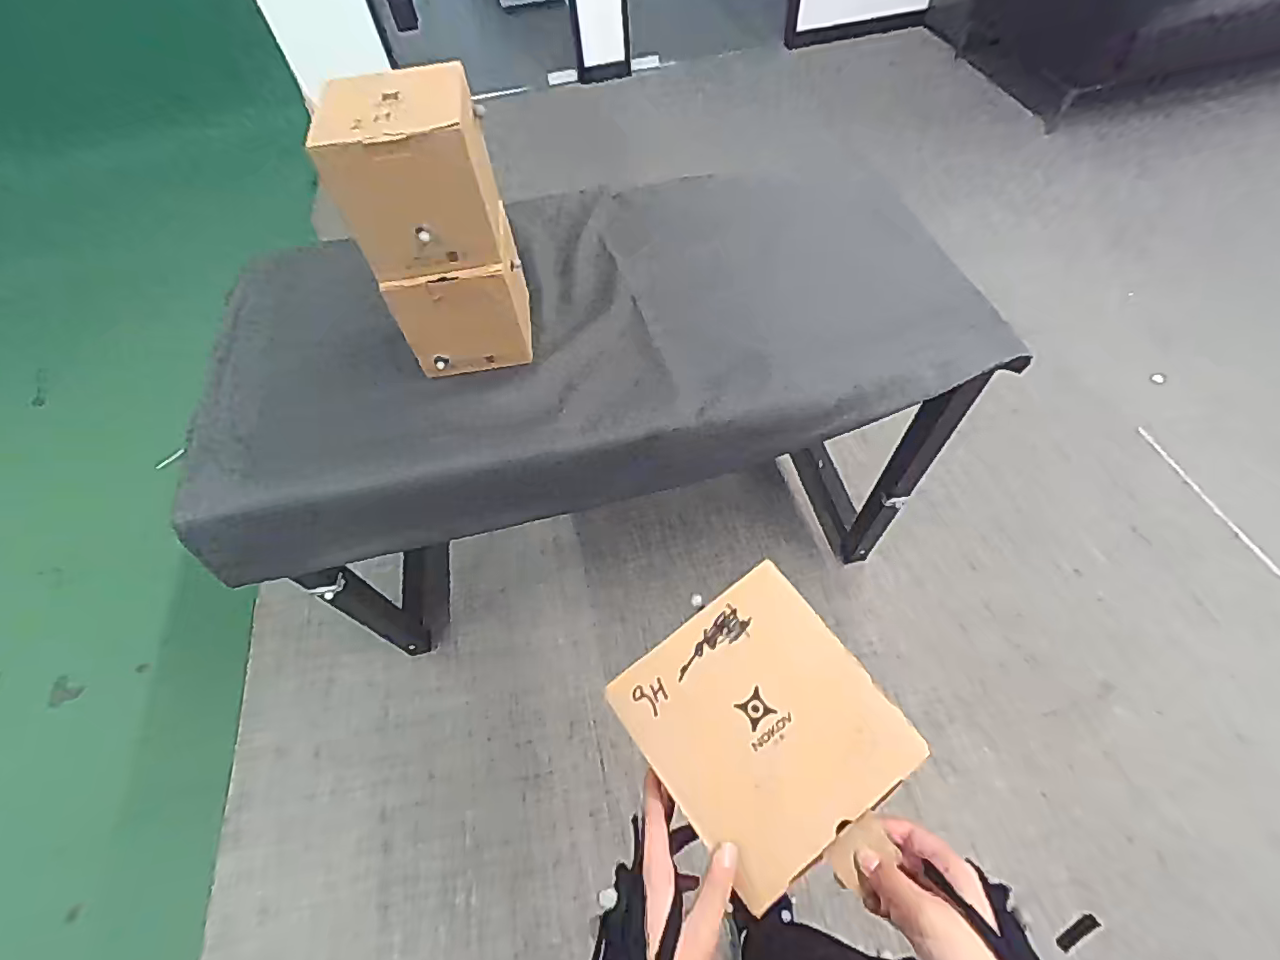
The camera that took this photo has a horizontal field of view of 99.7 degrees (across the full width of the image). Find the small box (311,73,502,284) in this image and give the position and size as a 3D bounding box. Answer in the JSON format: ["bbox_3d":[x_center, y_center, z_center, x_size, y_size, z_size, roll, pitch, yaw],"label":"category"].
[{"bbox_3d":[-0.281,-0.381,0.693,0.168,0.176,0.179,-11,57,-3],"label":"small box"}]

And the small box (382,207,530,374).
[{"bbox_3d":[-0.266,-0.278,0.821,0.168,0.176,0.179,-9,56,-2],"label":"small box"}]

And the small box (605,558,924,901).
[{"bbox_3d":[0.091,0.195,0.468,0.168,0.176,0.179,-35,72,-10],"label":"small box"}]
